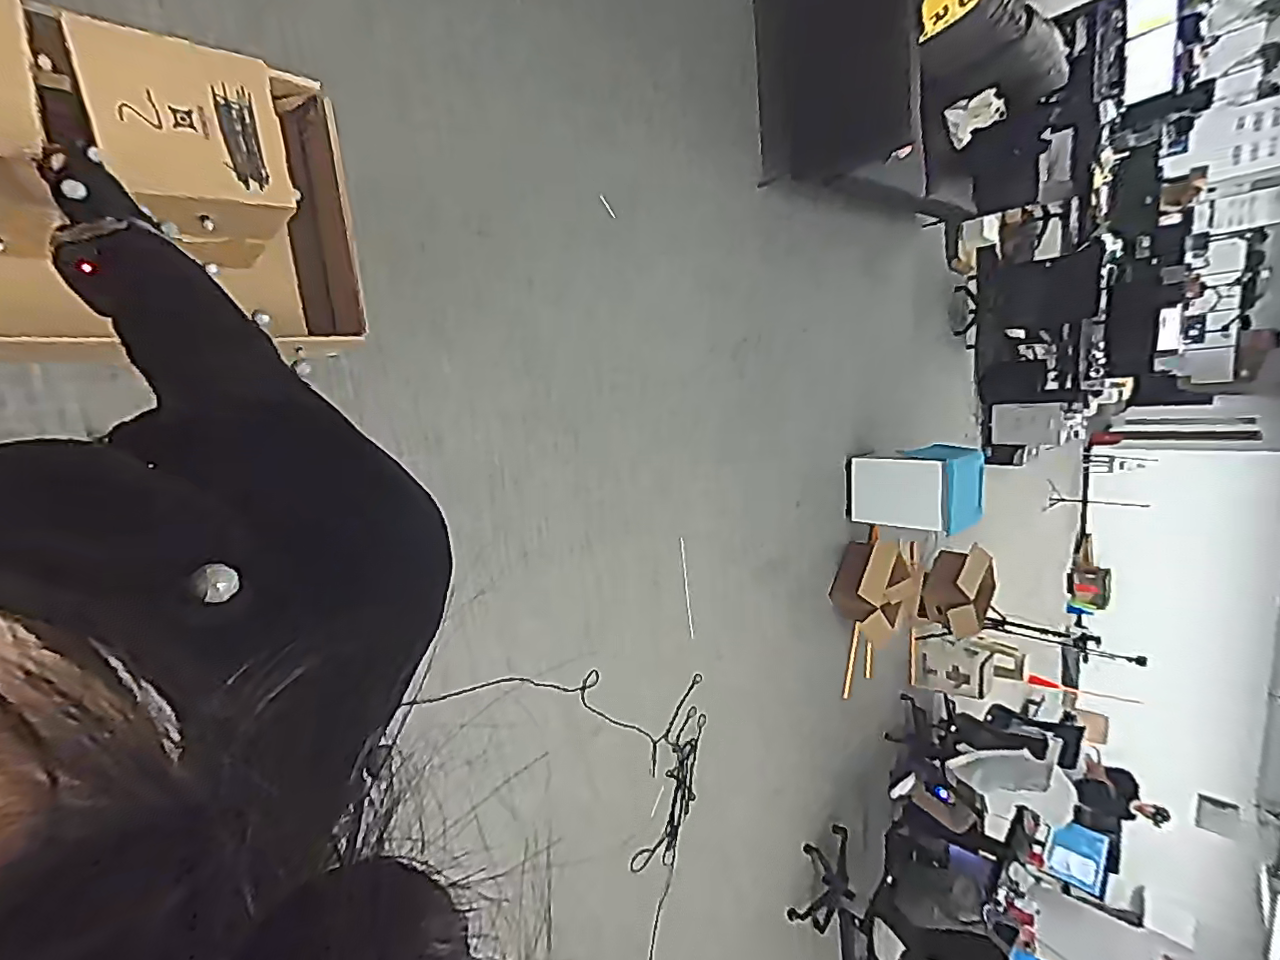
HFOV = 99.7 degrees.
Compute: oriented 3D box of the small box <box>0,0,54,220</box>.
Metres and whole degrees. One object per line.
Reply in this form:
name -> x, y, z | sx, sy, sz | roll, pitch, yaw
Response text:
small box -> -0.684, -0.380, 0.506 | 0.168, 0.176, 0.179 | -8, 91, -43
